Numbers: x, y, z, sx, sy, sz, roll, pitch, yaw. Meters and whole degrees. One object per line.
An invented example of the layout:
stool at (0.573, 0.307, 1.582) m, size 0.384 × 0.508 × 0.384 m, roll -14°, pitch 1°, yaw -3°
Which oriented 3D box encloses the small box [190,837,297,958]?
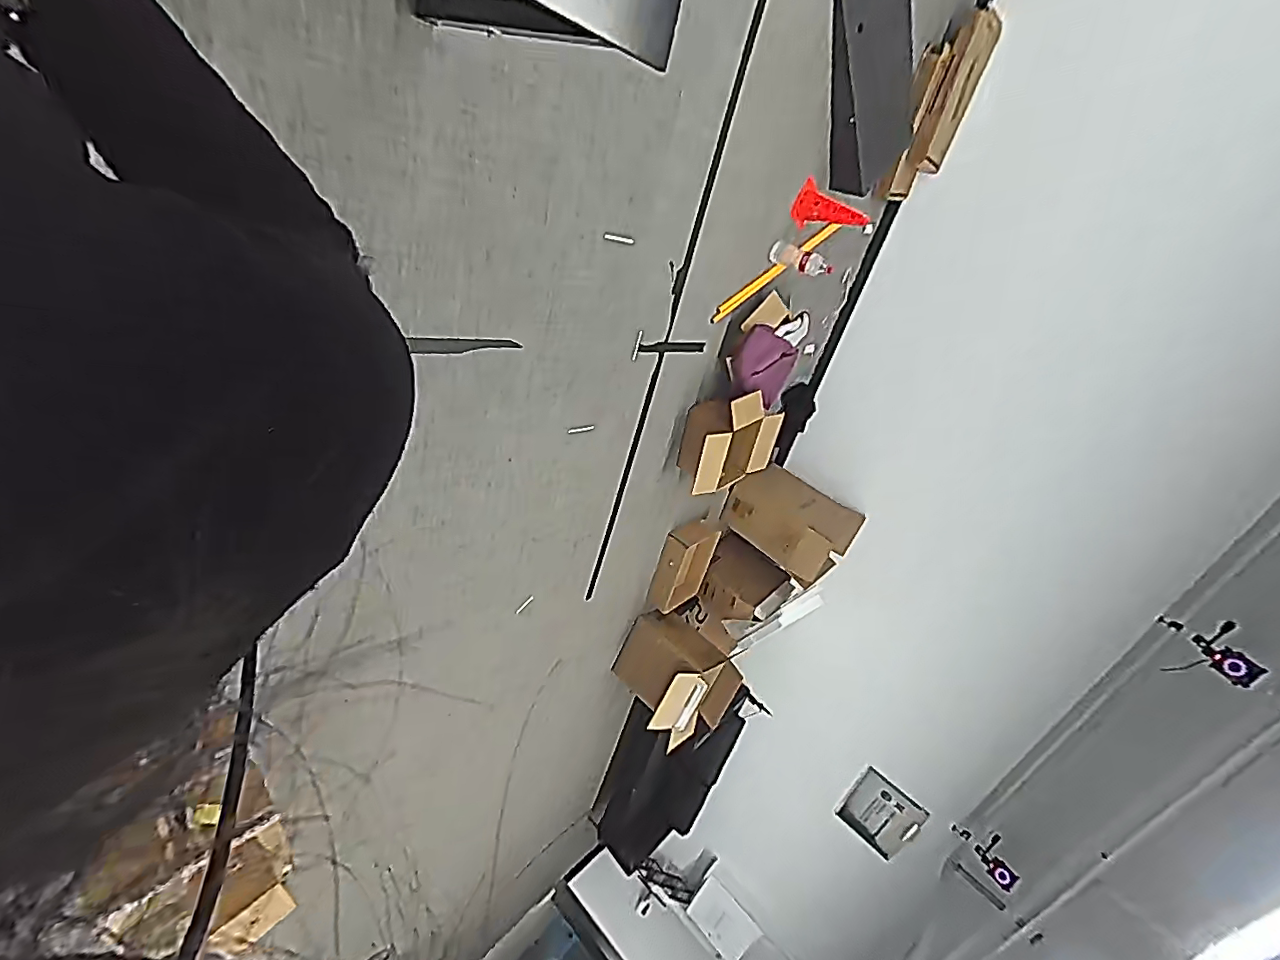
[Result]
small box at (-1.063, 1.113, 1.453) m, size 0.168 × 0.176 × 0.179 m, roll -29°, pitch 137°, yaw -40°
